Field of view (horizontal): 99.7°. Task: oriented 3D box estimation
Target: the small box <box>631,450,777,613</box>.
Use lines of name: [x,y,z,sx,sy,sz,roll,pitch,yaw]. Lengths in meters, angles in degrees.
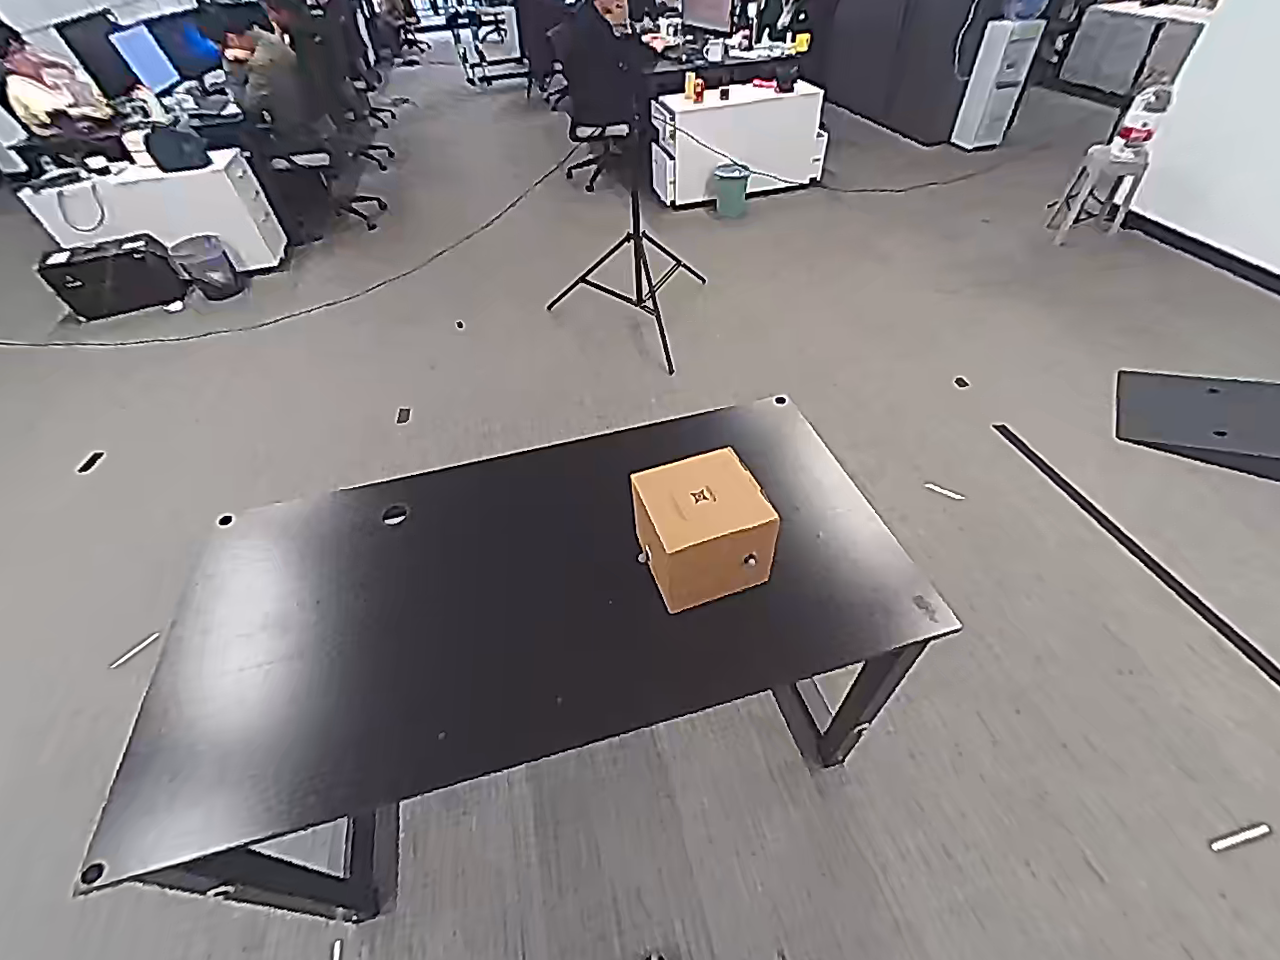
small box: [0.097,0.083,0.870,0.179,0.176,0.168,-17,47,-10]
